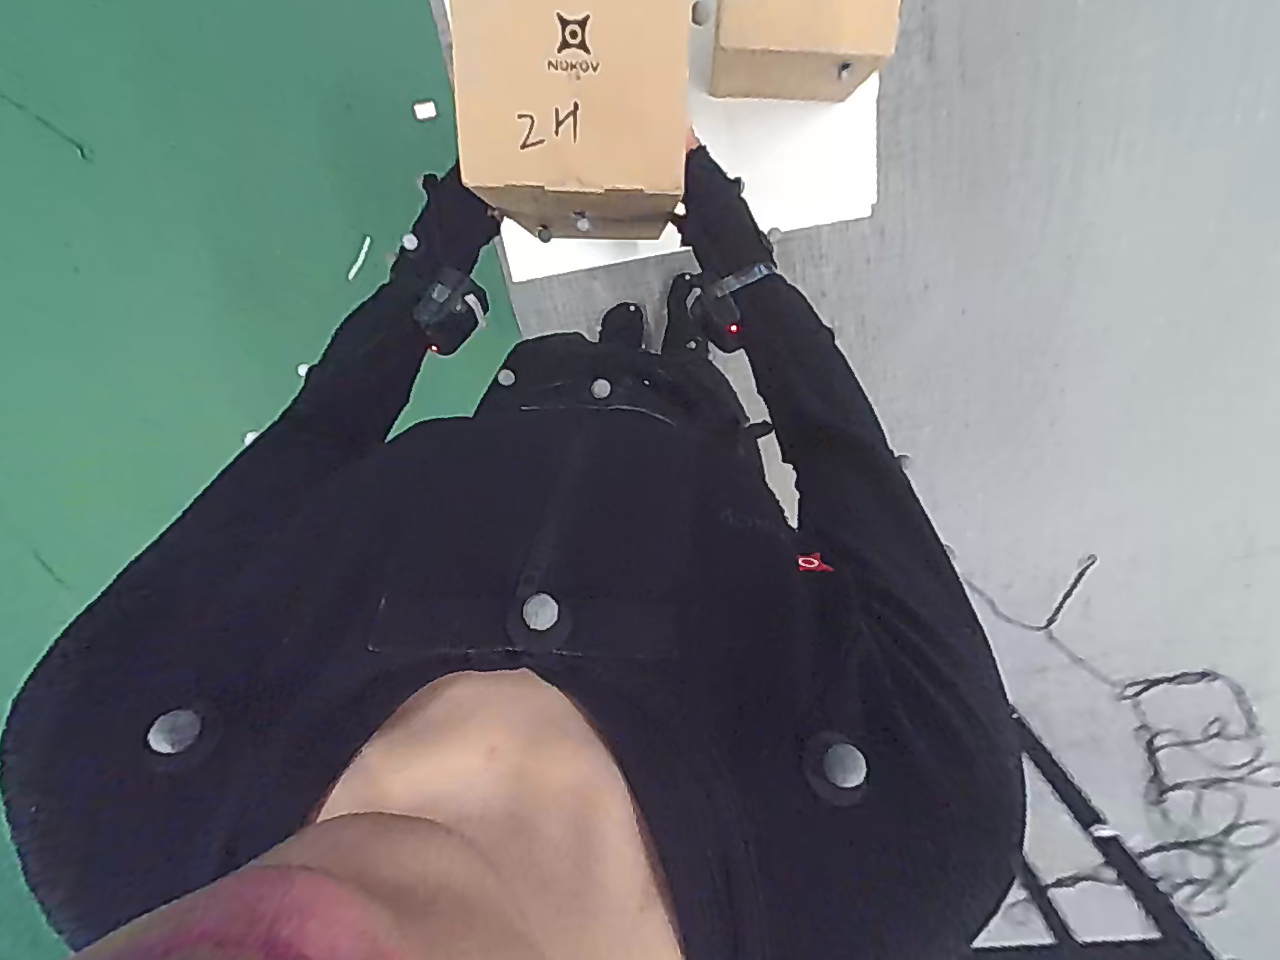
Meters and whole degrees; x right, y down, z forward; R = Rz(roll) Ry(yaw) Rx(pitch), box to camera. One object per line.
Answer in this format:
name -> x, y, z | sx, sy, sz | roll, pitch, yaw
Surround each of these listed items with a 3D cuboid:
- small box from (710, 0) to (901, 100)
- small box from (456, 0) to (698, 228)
small box -> 0.171, -0.530, 0.582 | 0.179, 0.176, 0.168 | 3, 112, 2
small box -> -0.047, -0.321, 0.449 | 0.168, 0.176, 0.179 | 2, 108, -2
